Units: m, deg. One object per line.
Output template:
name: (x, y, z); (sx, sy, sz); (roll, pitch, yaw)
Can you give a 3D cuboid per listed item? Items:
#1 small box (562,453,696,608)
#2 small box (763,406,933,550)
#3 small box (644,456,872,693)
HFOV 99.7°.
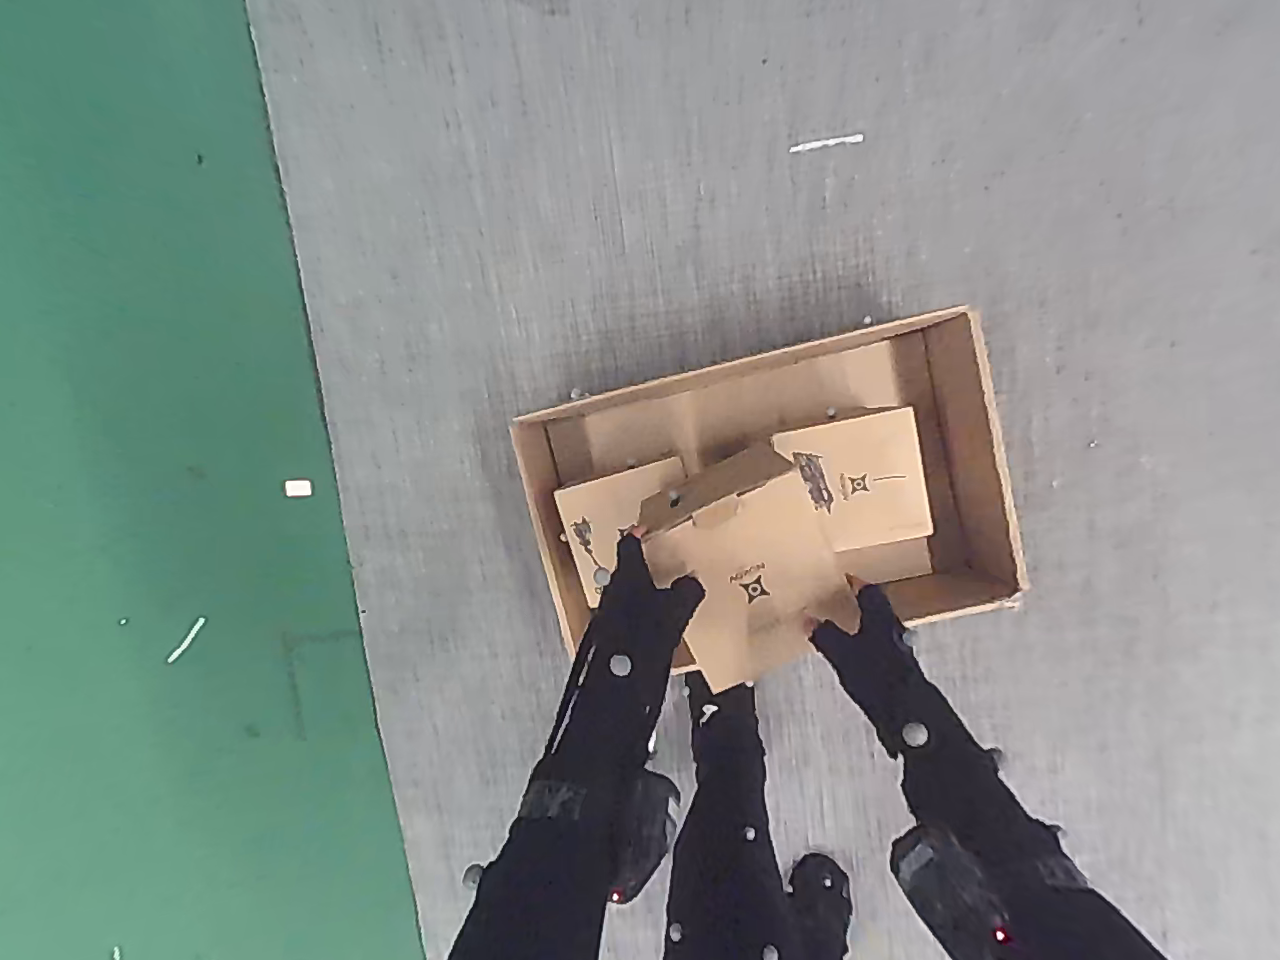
small box: (0.004, 0.062, 0.786); (0.179, 0.176, 0.168); (-16, 95, 5)
small box: (0.275, -0.004, 0.757); (0.179, 0.176, 0.168); (-12, 96, 7)
small box: (0.114, 0.085, 0.588); (0.168, 0.176, 0.179); (-26, 101, 8)
